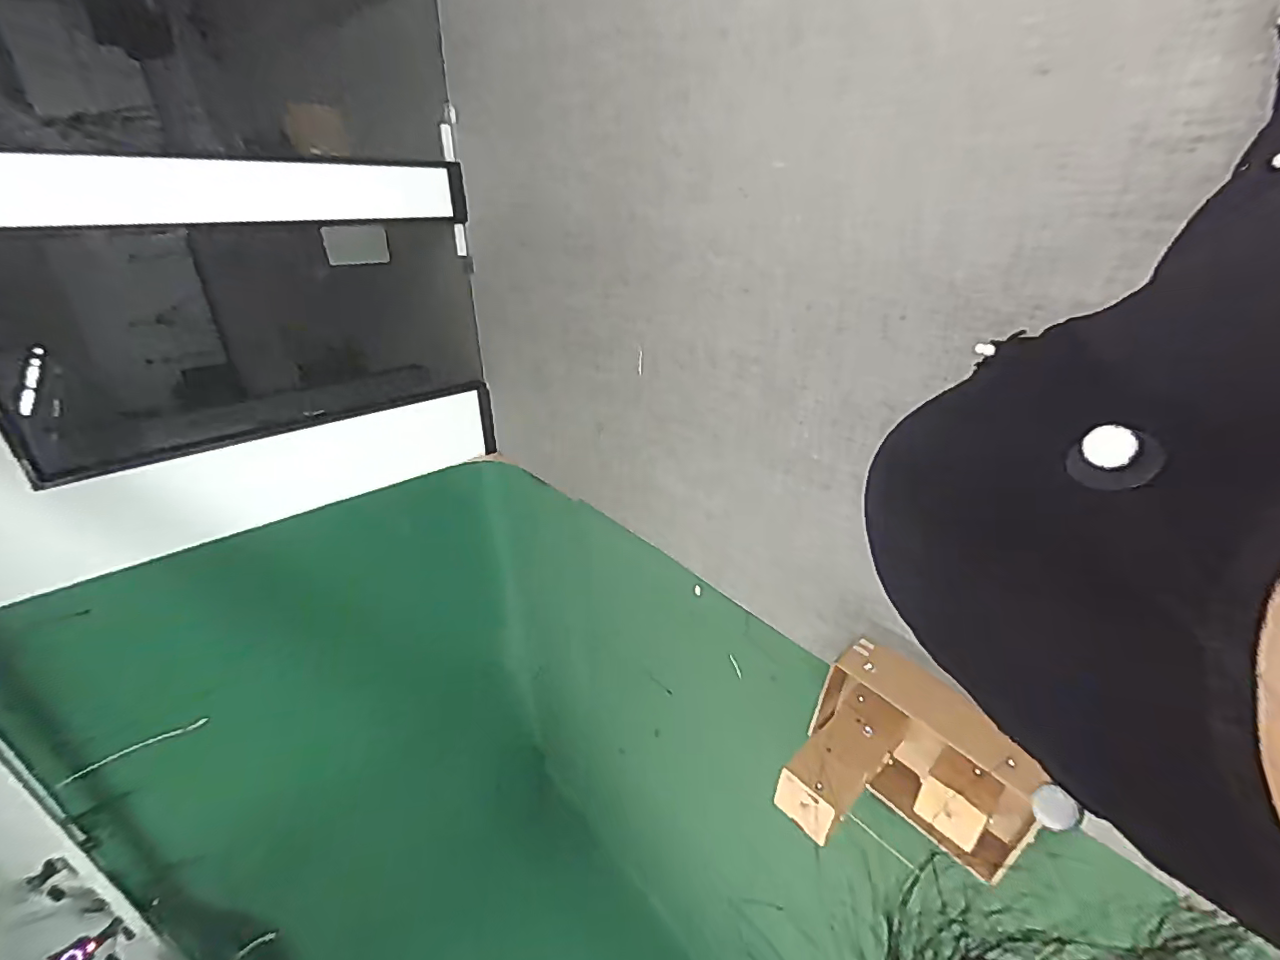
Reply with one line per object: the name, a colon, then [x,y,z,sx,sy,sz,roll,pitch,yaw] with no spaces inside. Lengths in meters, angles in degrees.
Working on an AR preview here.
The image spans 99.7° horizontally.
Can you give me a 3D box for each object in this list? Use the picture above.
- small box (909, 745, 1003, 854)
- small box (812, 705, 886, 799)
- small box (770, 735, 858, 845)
small box: [0.925,0.928,1.581,0.168,0.176,0.179,28,127,43]
small box: [0.620,0.833,1.646,0.168,0.176,0.179,33,129,37]
small box: [0.498,0.879,1.547,0.168,0.176,0.179,30,129,39]
